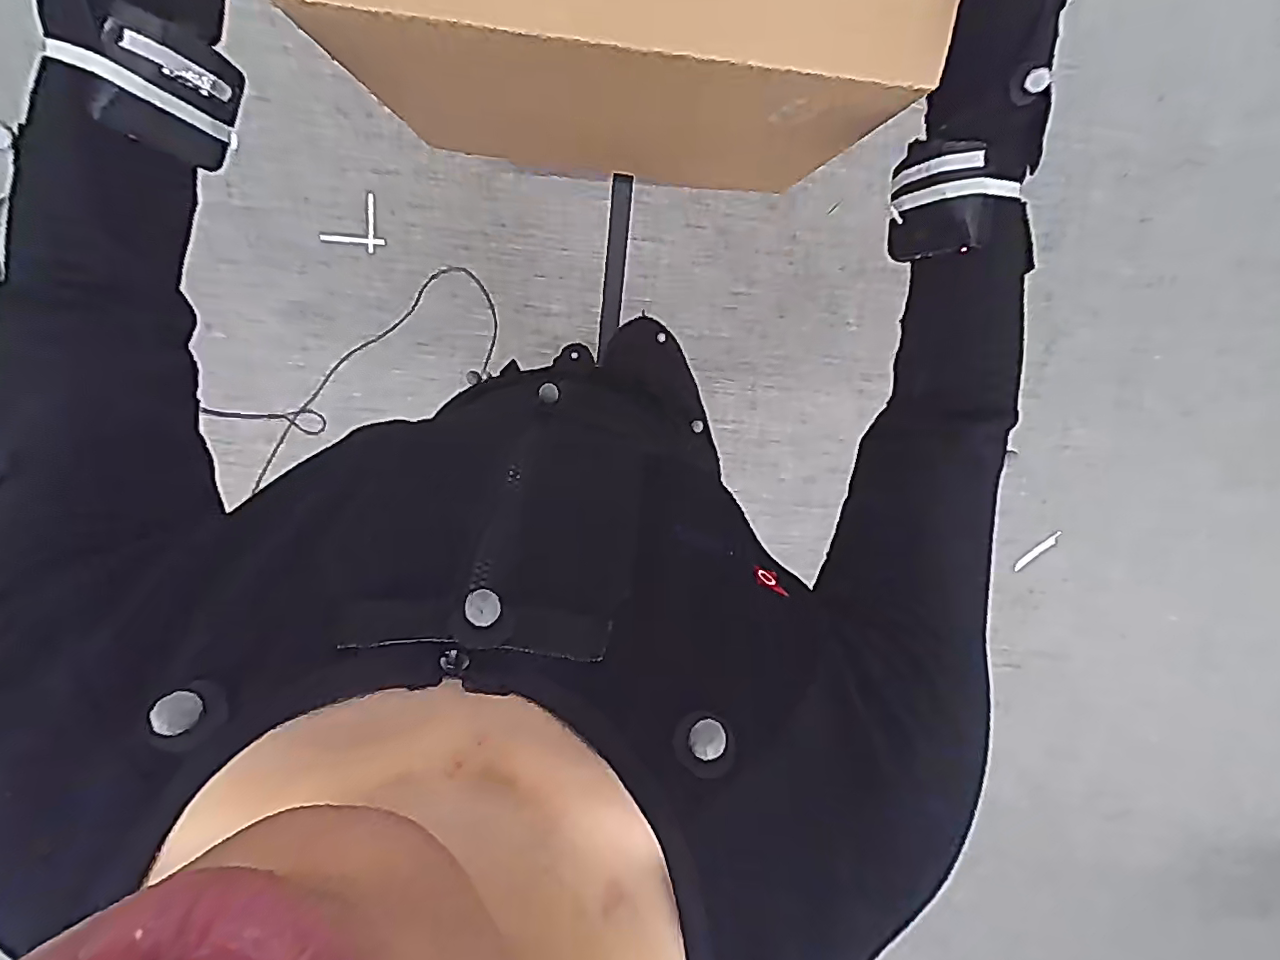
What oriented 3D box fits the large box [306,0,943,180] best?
[{"bbox_3d":[-0.009,-0.461,0.430,0.408,0.320,0.320,4,108,-5],"label":"large box"}]
